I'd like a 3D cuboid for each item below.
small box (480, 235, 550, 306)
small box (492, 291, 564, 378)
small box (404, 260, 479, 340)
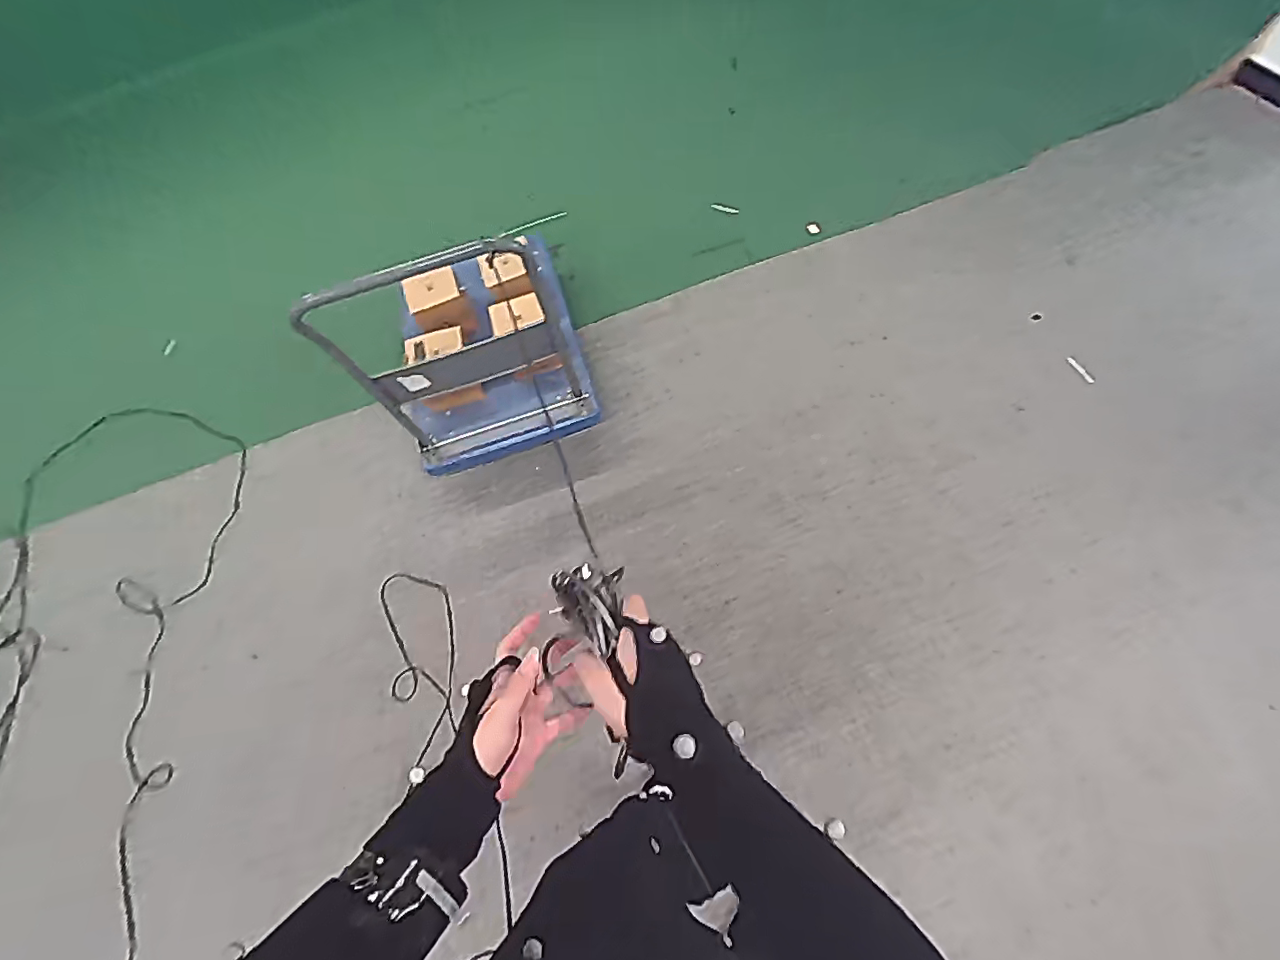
[{"bbox_3d":[-0.417,-0.677,1.814,0.168,0.176,0.179,-20,65,-1],"label":"small box"},{"bbox_3d":[-0.351,-0.455,1.701,0.168,0.176,0.179,-17,65,-1],"label":"small box"},{"bbox_3d":[-0.659,-0.592,1.807,0.168,0.176,0.179,-21,64,-3],"label":"small box"}]
